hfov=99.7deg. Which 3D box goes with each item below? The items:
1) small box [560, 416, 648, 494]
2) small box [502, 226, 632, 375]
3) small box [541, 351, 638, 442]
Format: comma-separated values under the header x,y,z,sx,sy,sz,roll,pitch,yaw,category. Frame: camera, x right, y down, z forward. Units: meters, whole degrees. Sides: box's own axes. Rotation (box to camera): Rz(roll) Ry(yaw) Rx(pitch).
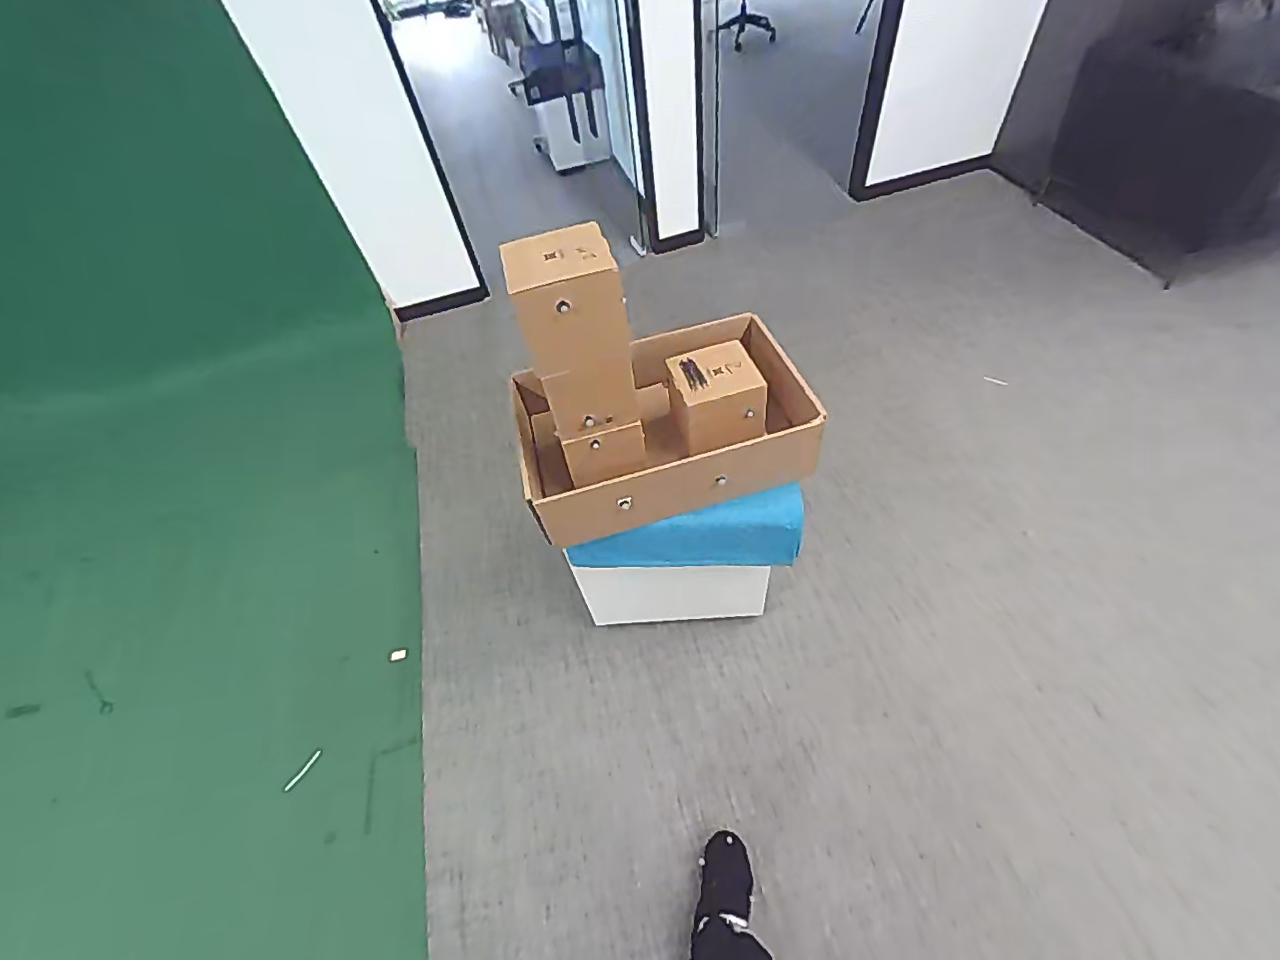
x,y,z,sx,sy,sz,roll,pitch,yaw,category
-0.086,-0.098,1.184,0.168,0.176,0.179,-15,50,-4,small box
-0.124,-0.305,0.934,0.179,0.176,0.168,-15,51,-4,small box
-0.107,-0.205,1.063,0.168,0.176,0.179,-15,51,-5,small box
